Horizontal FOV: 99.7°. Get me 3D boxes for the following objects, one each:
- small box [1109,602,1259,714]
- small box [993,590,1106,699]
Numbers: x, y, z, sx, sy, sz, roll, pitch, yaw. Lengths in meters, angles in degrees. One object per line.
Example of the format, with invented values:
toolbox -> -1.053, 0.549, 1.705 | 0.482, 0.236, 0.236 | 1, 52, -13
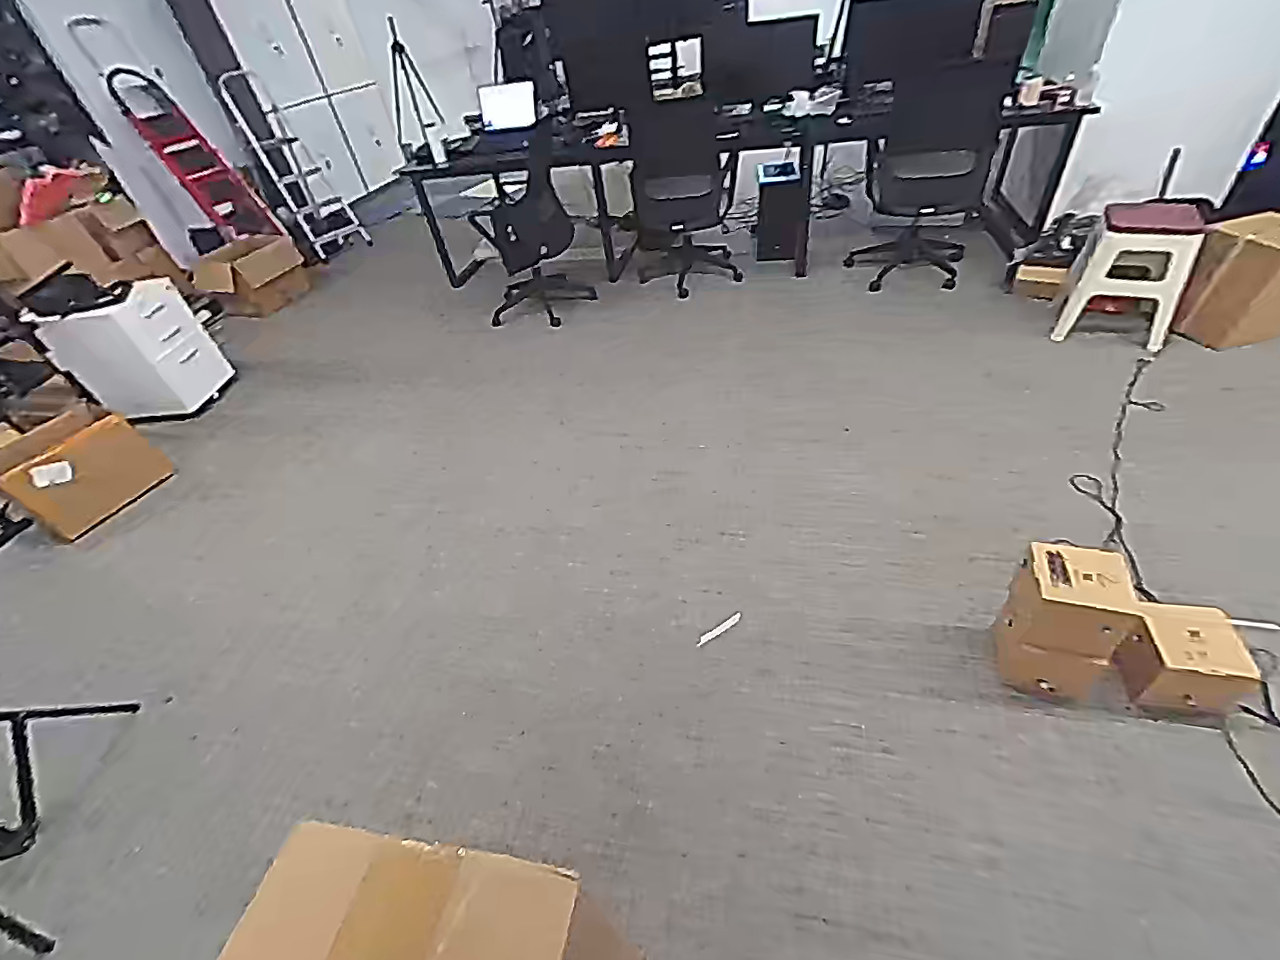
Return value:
small box -> 1.244, 0.412, 1.258 | 0.168, 0.176, 0.179 | 3, 43, 16
small box -> 0.987, 0.402, 1.321 | 0.168, 0.176, 0.179 | 7, 45, 20
